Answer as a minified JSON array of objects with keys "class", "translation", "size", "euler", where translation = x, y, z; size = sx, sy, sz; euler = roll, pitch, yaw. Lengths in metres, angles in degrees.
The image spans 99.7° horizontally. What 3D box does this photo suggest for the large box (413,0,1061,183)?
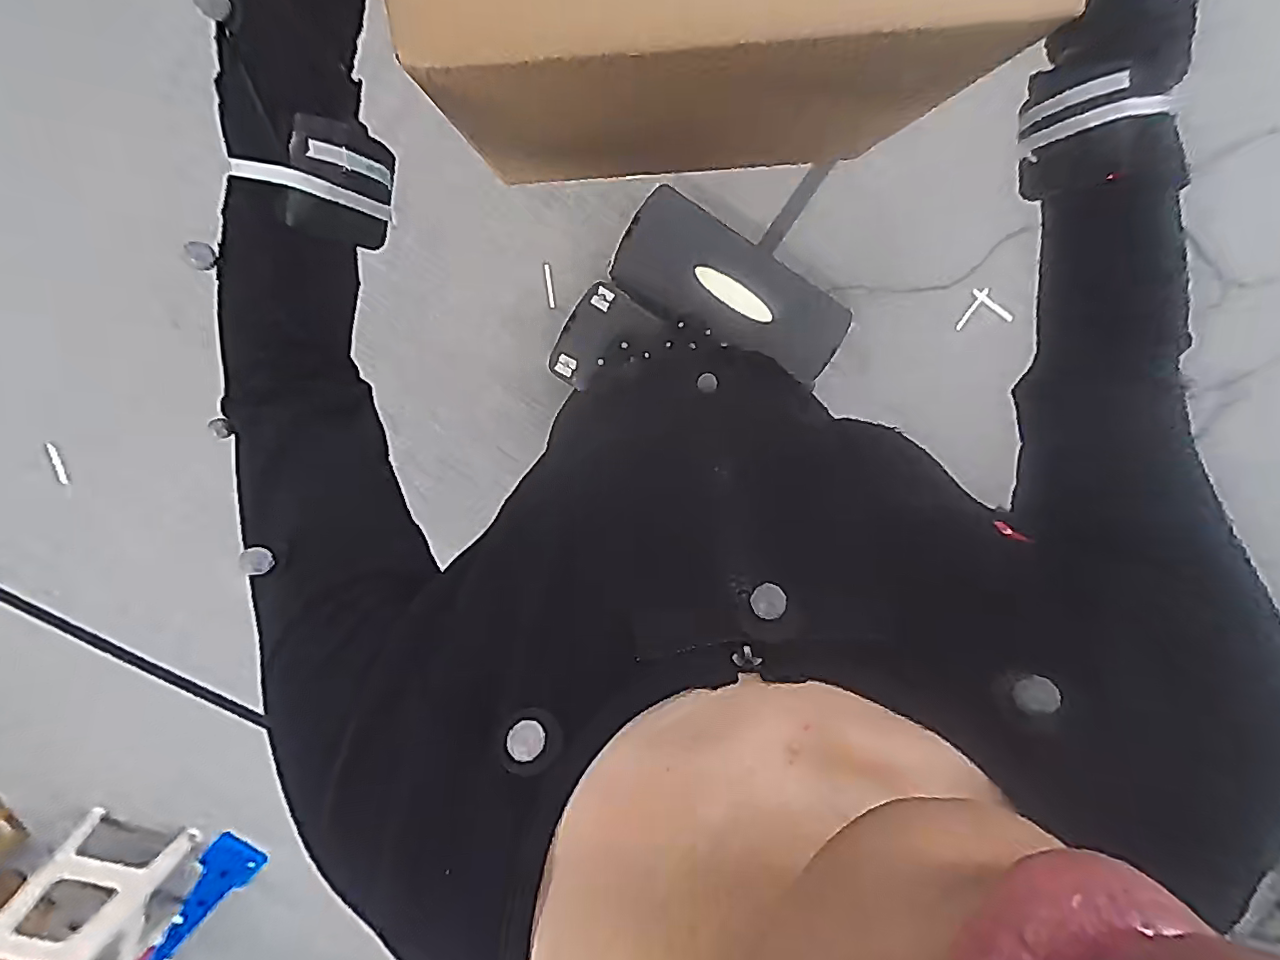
[{"class":"large box","translation":[0.043,-0.456,0.429],"size":[0.408,0.320,0.320],"euler":[-5,108,-2]}]
